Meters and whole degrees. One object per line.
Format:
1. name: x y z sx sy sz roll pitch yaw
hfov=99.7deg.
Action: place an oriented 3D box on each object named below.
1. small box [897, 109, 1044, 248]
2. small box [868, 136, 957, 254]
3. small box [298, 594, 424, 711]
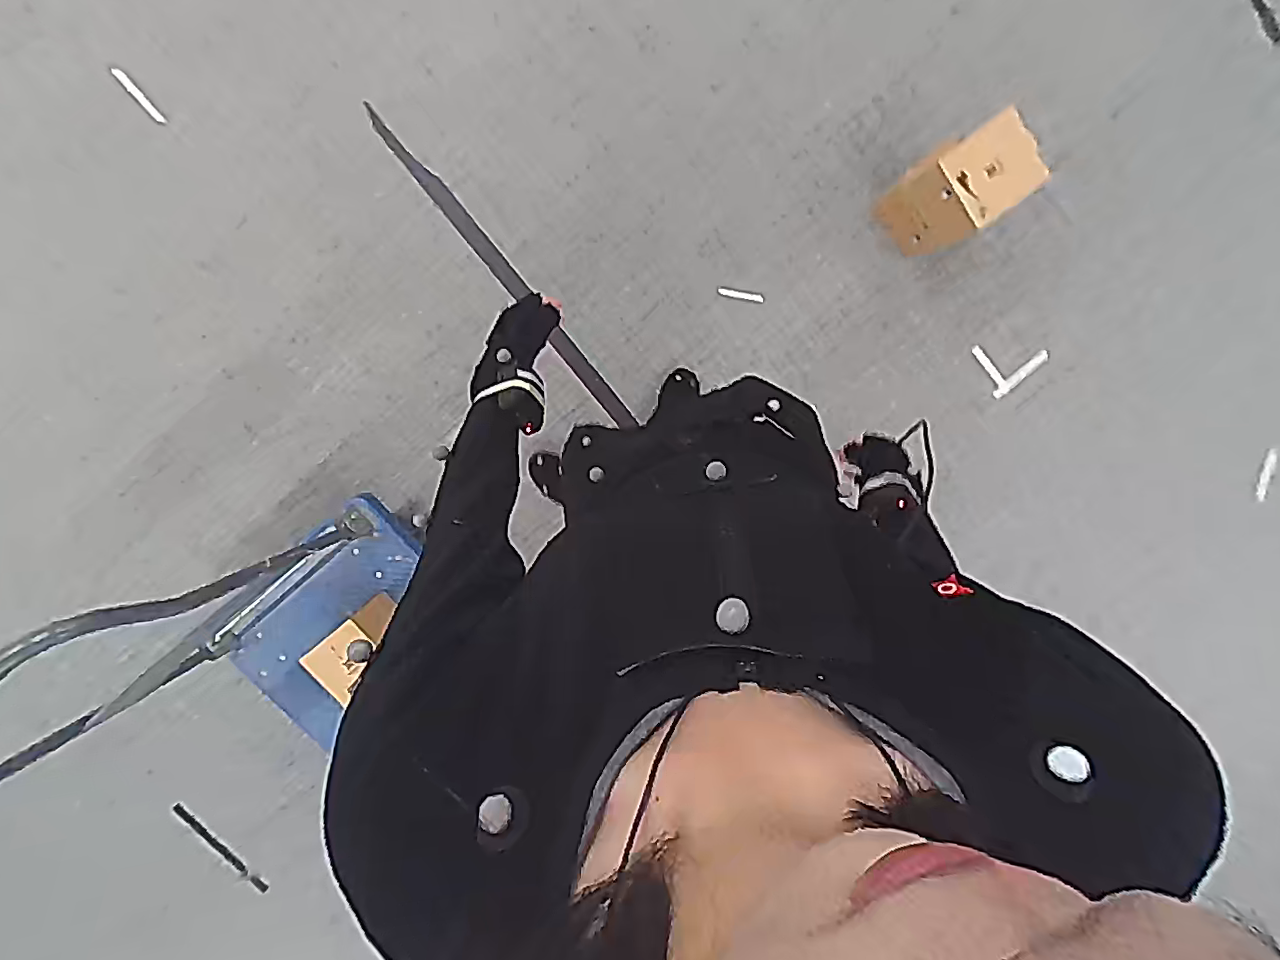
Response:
1. small box: 0.699 -0.636 1.164 0.179 0.176 0.168 -37 99 4
2. small box: 0.702 -0.681 1.322 0.168 0.176 0.179 -43 98 6
3. small box: -0.662 0.409 1.309 0.168 0.176 0.179 -38 98 6
